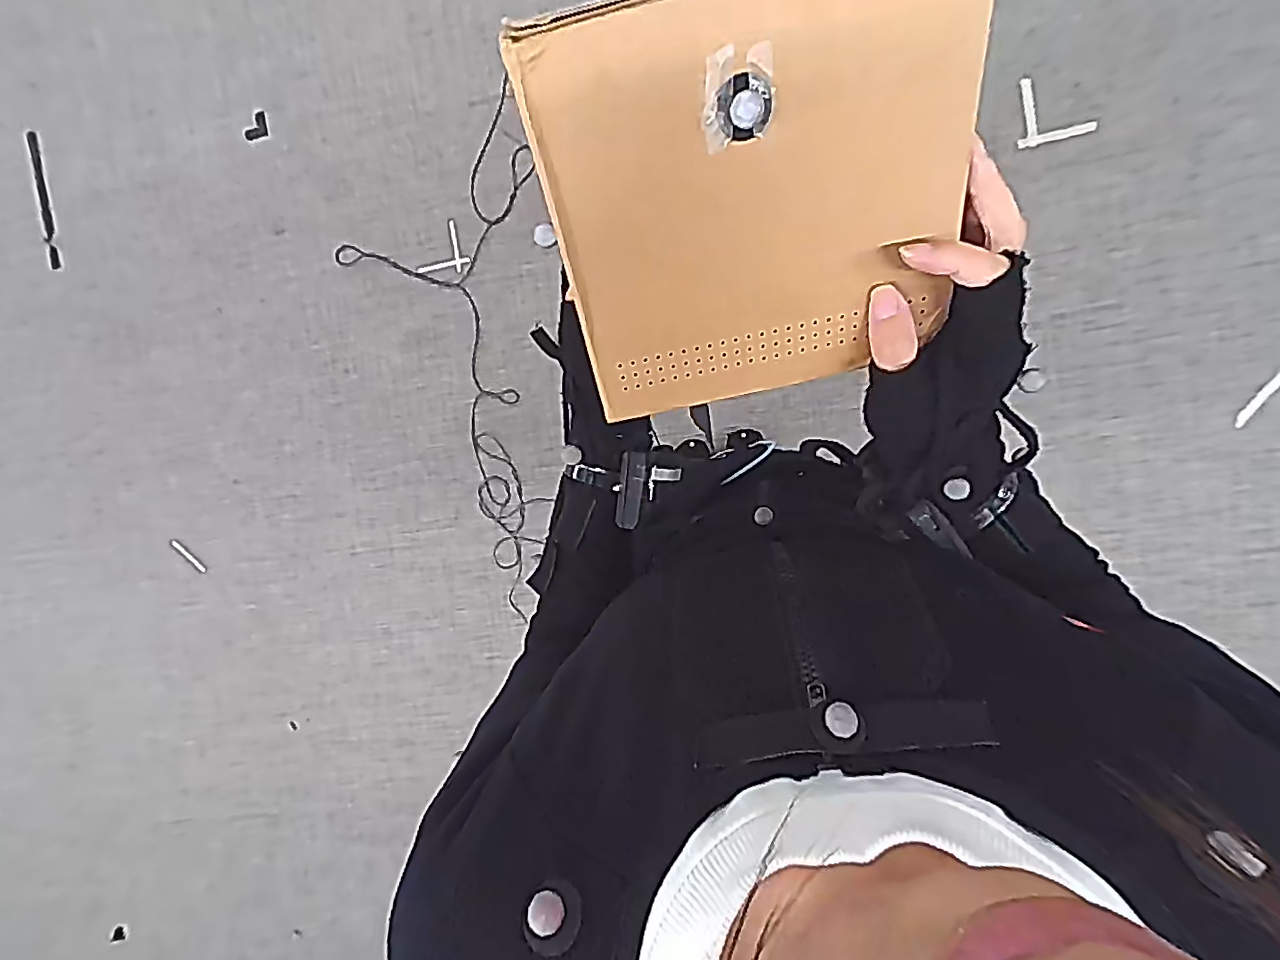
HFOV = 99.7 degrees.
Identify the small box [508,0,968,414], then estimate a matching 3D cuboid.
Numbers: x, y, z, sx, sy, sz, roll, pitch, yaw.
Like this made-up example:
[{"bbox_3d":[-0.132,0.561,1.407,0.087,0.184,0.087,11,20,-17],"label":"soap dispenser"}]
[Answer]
[{"bbox_3d":[0.049,-0.155,0.298,0.179,0.168,0.176,-11,128,5],"label":"small box"}]
